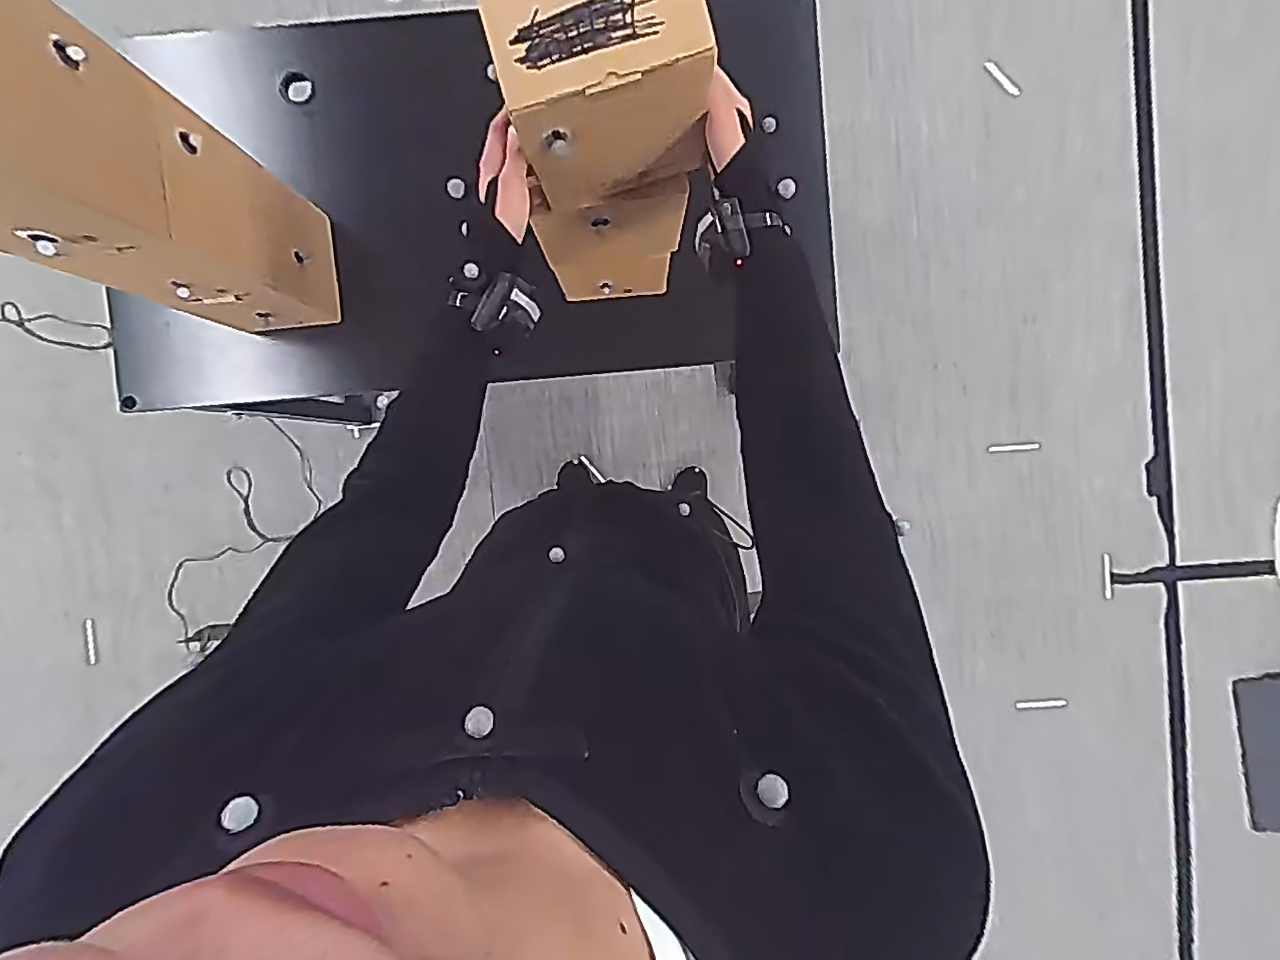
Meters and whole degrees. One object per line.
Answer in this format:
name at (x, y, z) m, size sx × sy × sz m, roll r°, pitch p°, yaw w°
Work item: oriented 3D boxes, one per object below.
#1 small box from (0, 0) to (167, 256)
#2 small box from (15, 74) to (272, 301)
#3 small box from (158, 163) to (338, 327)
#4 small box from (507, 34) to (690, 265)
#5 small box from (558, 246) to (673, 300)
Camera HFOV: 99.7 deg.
small box at (-0.575, -0.322, 0.477) m, size 0.168 × 0.176 × 0.179 m, roll -6°, pitch 93°, yaw 1°
small box at (-0.577, -0.329, 0.640) m, size 0.168 × 0.176 × 0.179 m, roll -6°, pitch 93°, yaw 1°
small box at (-0.578, -0.334, 0.805) m, size 0.168 × 0.176 × 0.179 m, roll -6°, pitch 93°, yaw 0°
small box at (-0.043, -0.372, 0.642) m, size 0.179 × 0.176 × 0.168 m, roll -8°, pitch 93°, yaw -1°
small box at (-0.044, -0.385, 0.806) m, size 0.168 × 0.176 × 0.179 m, roll -5°, pitch 93°, yaw 0°
